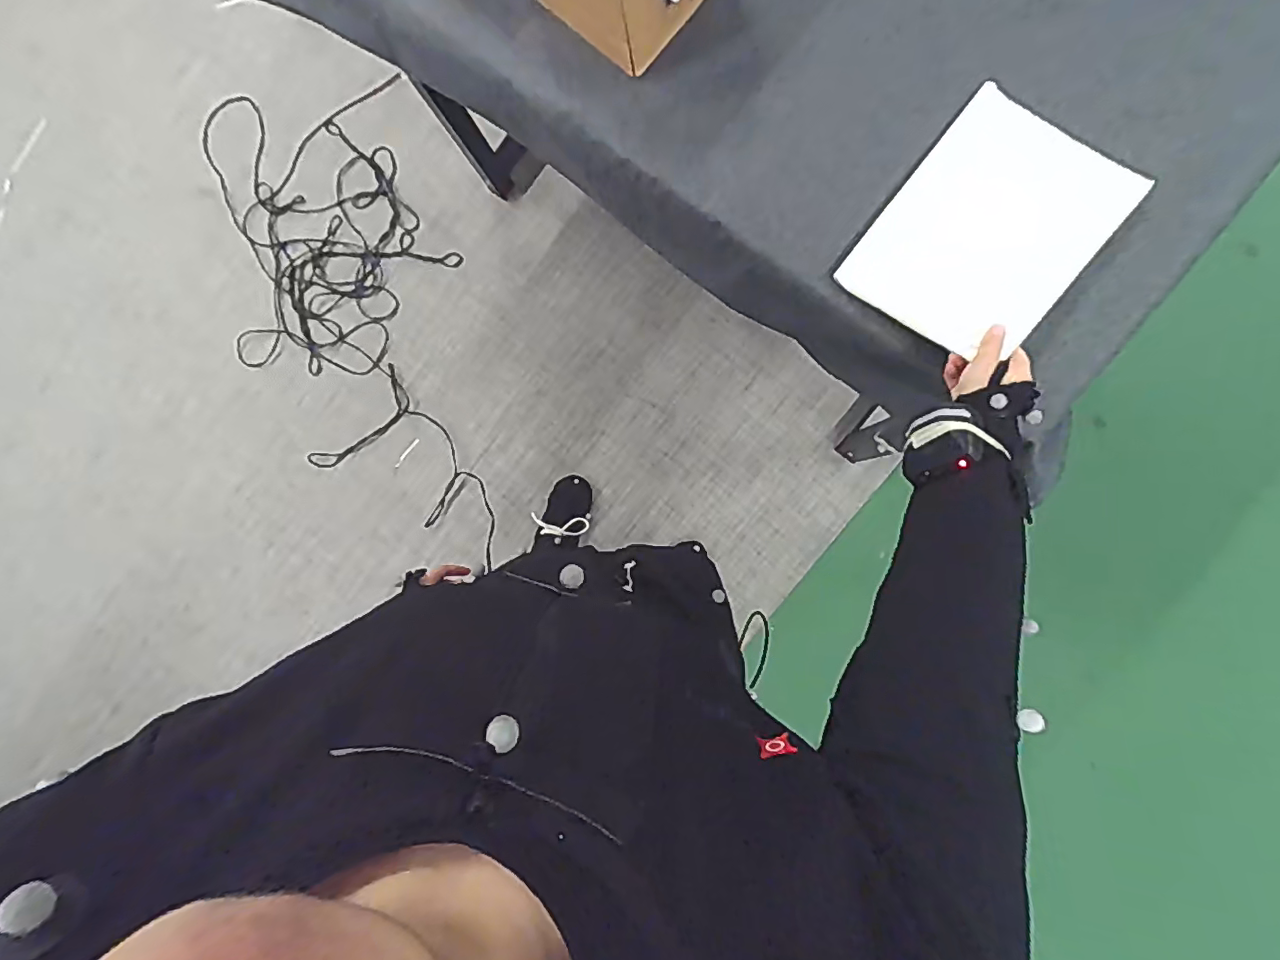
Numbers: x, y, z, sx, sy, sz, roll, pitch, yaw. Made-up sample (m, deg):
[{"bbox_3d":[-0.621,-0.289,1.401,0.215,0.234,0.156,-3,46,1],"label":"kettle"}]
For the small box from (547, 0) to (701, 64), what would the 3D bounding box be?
[{"bbox_3d":[-0.024,-0.596,0.561,0.179,0.176,0.168,42,93,6],"label":"small box"}]
